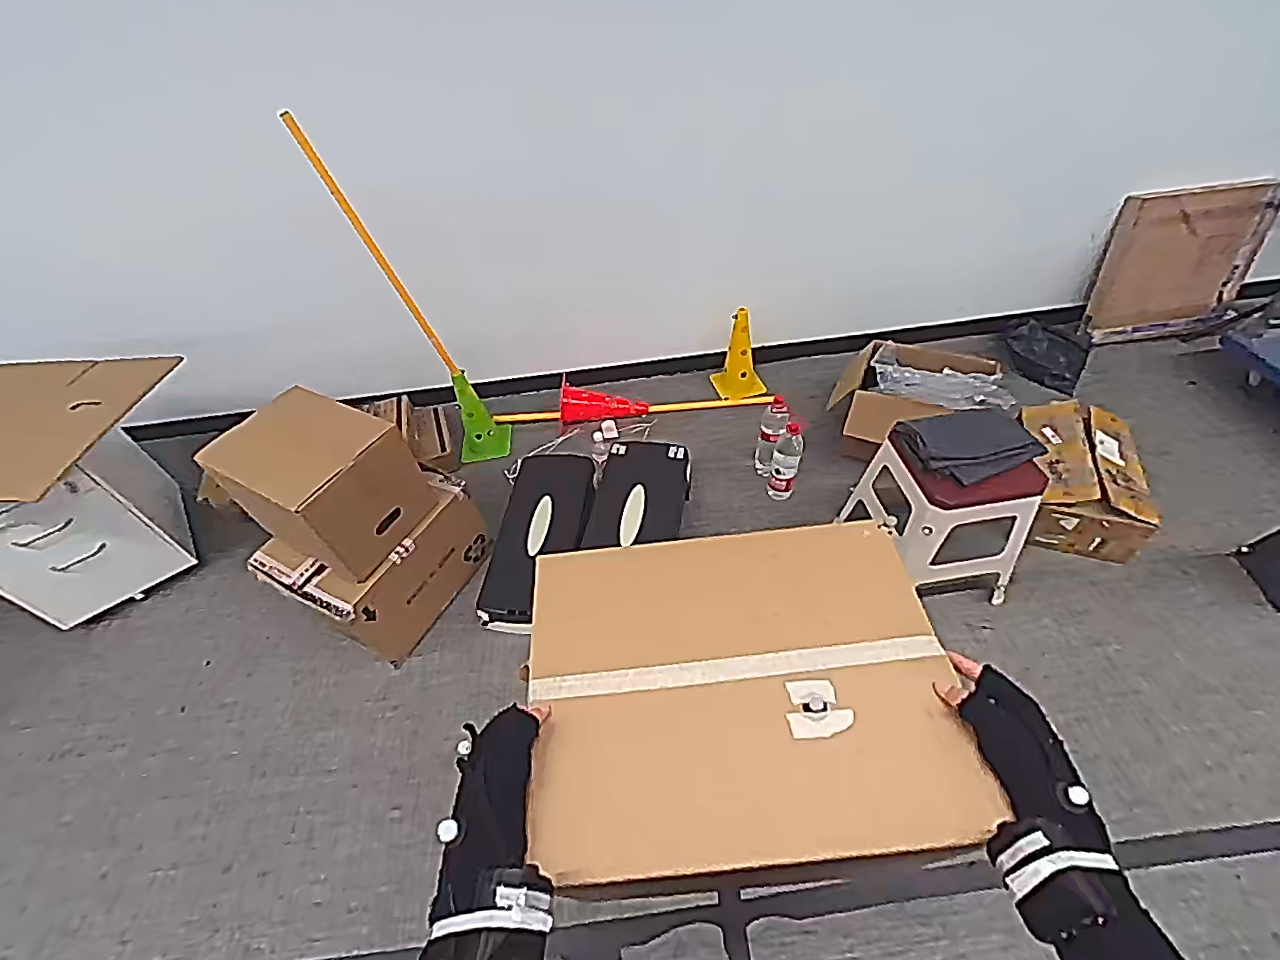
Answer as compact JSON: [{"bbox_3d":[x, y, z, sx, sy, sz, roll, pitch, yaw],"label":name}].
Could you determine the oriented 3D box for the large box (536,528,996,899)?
[{"bbox_3d":[0.103,0.292,0.663,0.408,0.320,0.320,-6,51,0],"label":"large box"}]
